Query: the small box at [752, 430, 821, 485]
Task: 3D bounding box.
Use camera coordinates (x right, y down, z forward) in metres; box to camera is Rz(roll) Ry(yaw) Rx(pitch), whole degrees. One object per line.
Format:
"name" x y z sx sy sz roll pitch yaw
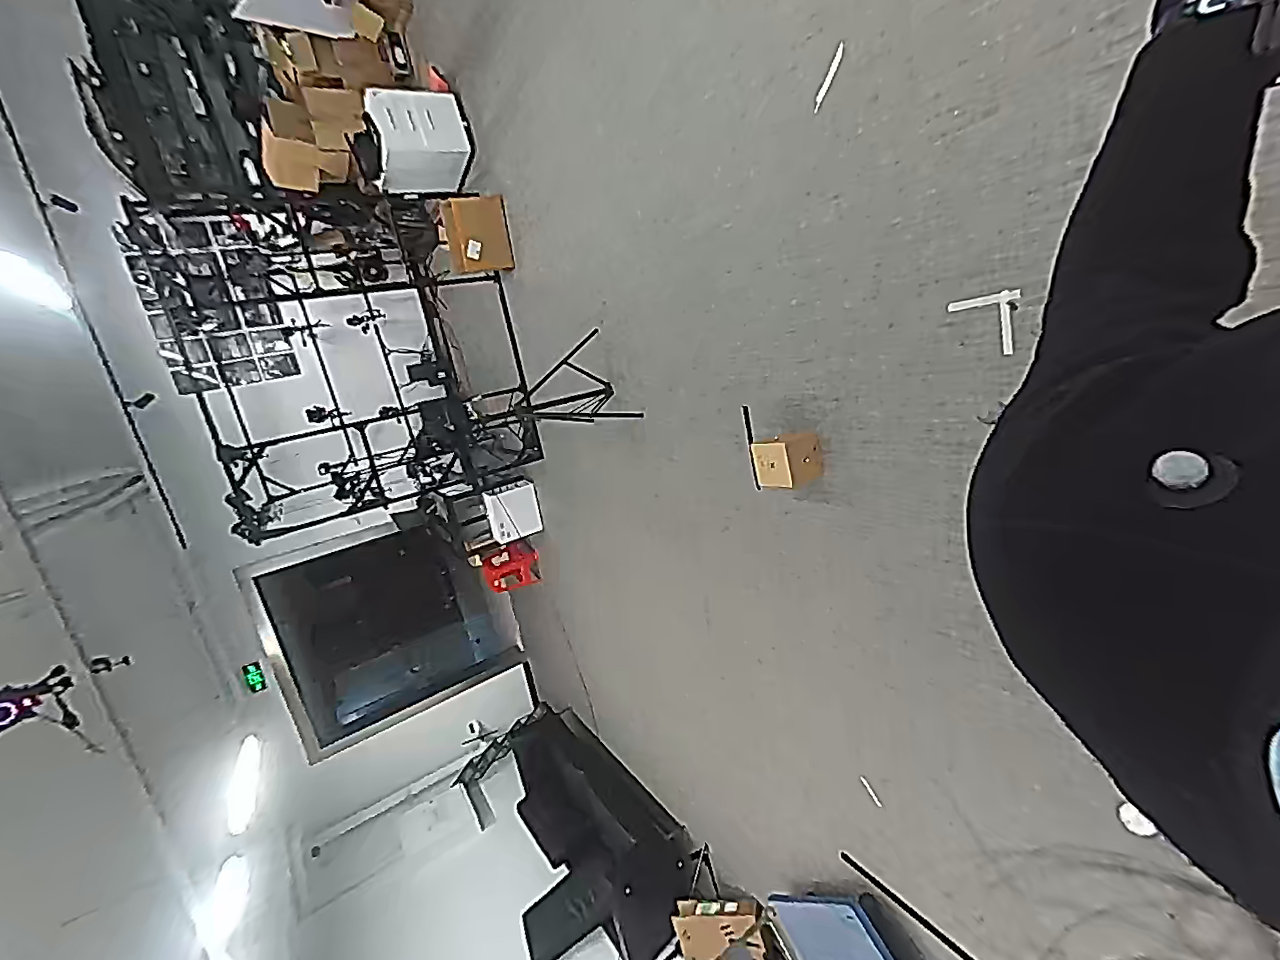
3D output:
"small box" 0.548 -0.086 1.996 0.179 0.176 0.168 5 111 60
